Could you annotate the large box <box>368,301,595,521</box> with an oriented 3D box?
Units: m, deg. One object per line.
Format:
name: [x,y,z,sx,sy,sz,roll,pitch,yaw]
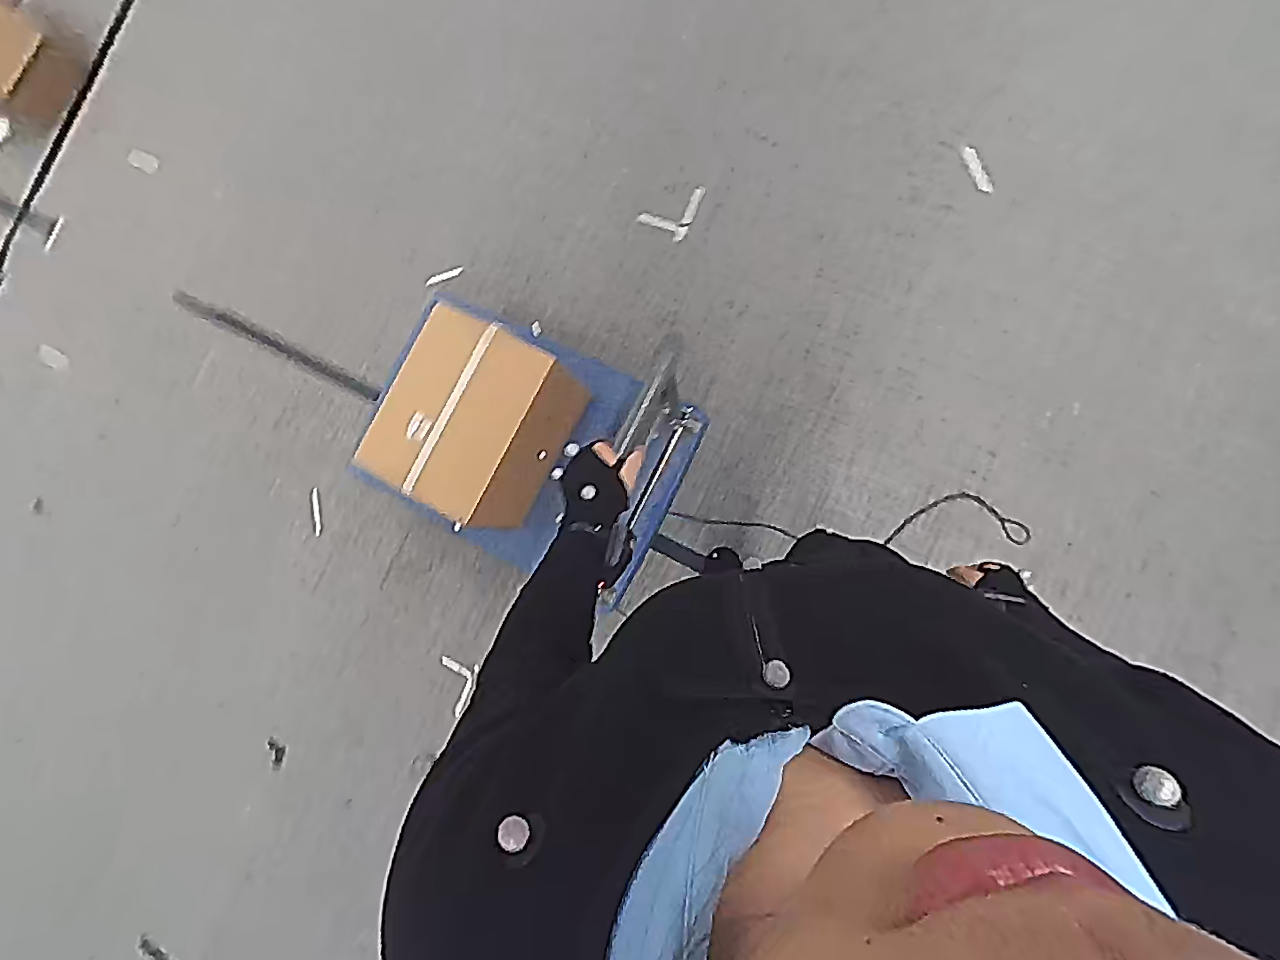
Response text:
large box: [-0.361,-0.146,1.320,0.320,0.320,0.408,28,91,13]
